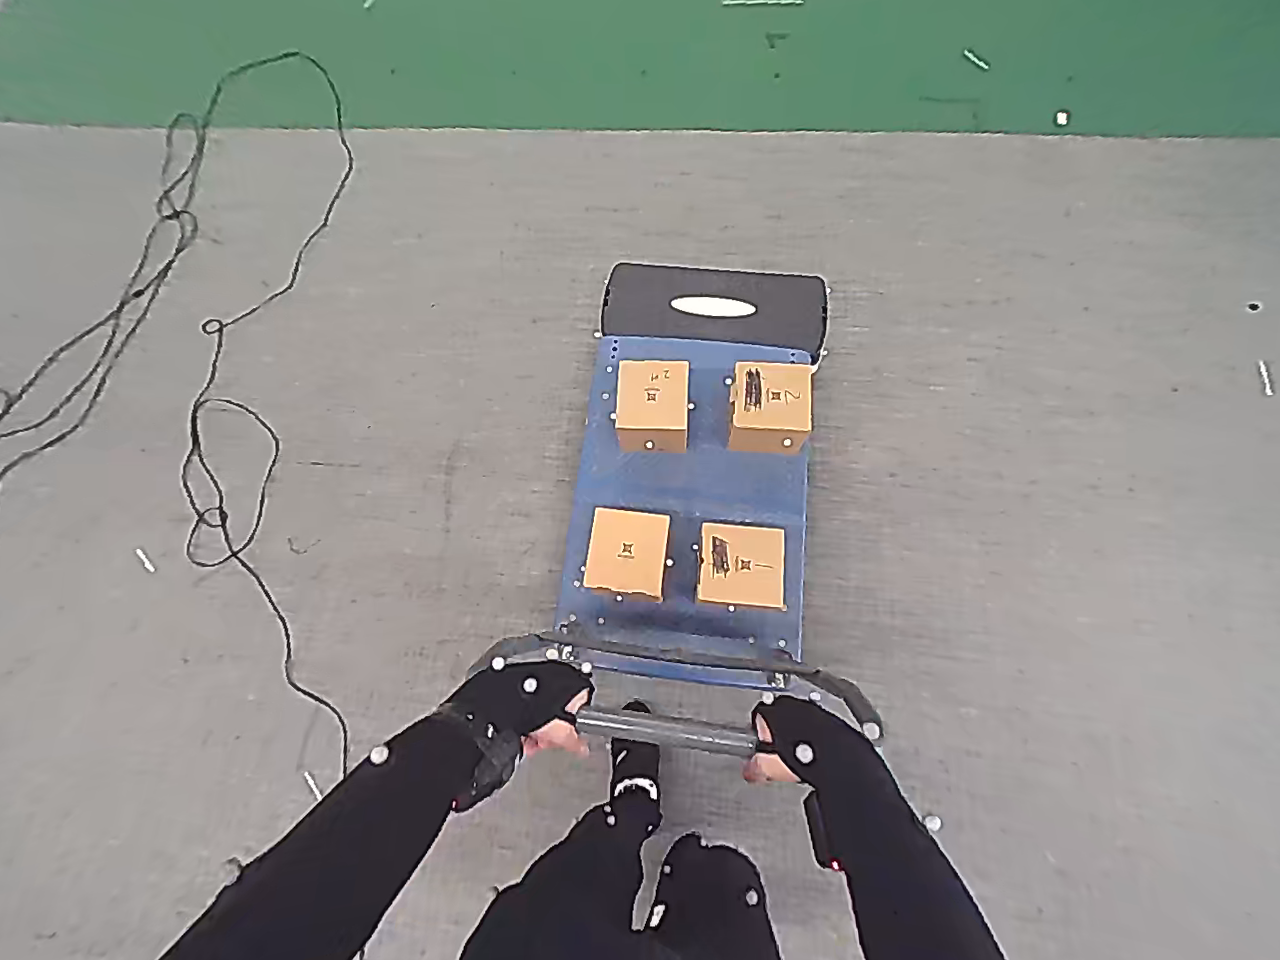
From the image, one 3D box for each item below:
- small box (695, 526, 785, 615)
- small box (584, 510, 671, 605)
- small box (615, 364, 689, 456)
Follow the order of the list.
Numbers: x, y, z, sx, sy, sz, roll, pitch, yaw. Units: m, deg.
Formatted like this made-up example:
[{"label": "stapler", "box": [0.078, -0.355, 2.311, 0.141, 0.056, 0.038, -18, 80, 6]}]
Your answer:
[{"label": "small box", "box": [0.216, 0.206, 1.201, 0.179, 0.176, 0.168, 5, 74, 4]}, {"label": "small box", "box": [-0.023, 0.181, 1.226, 0.168, 0.176, 0.179, 7, 74, 5]}, {"label": "small box", "box": [0.035, -0.166, 1.327, 0.168, 0.176, 0.179, 2, 73, 4]}]
